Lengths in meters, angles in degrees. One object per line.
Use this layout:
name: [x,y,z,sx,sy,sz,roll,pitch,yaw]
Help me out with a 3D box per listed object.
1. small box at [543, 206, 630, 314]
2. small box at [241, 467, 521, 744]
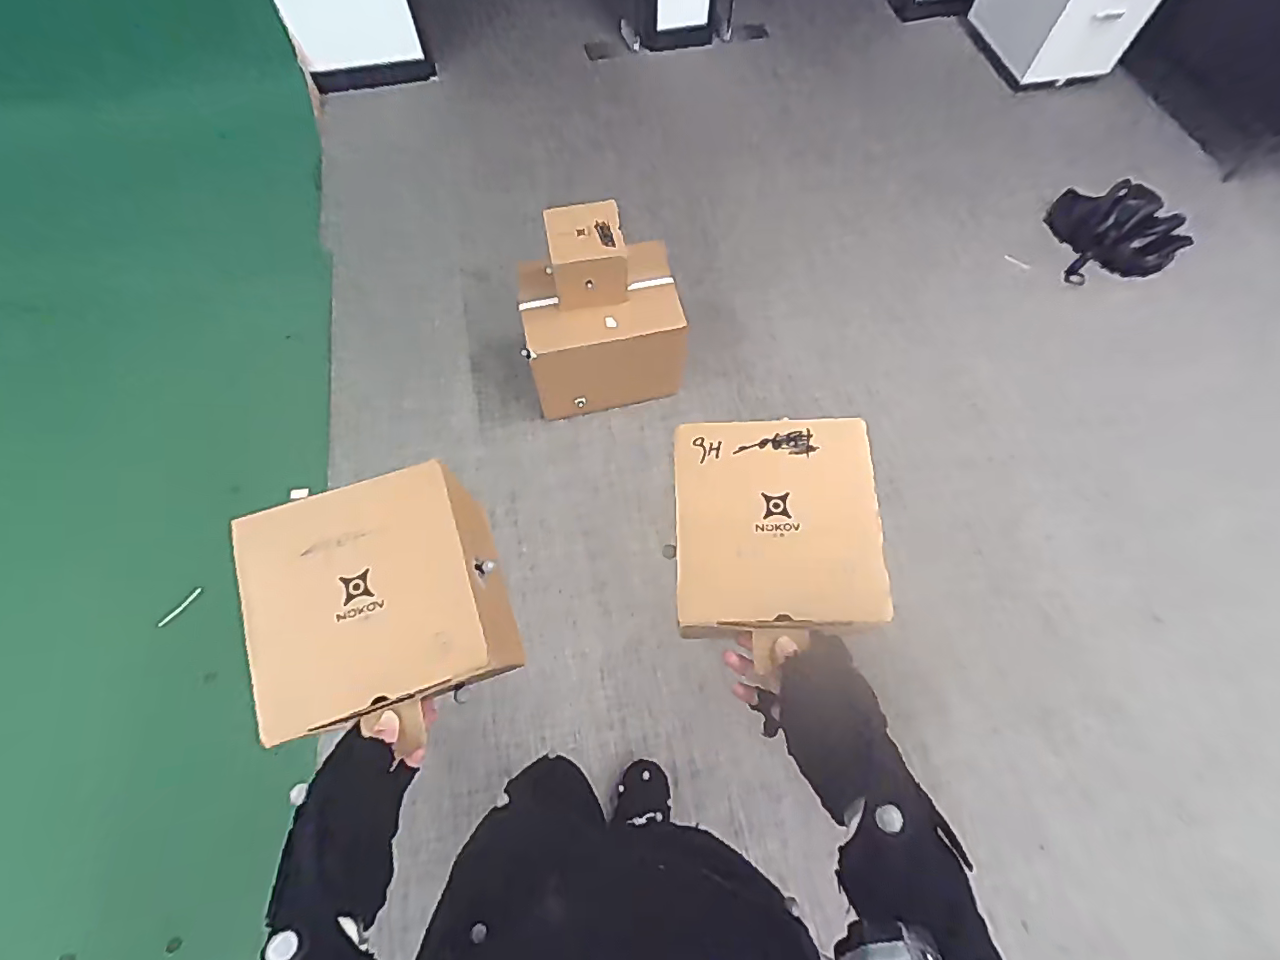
small box: [-0.129,-0.533,1.323,0.179,0.176,0.168,-13,72,-6]
small box: [-0.221,0.114,0.501,0.168,0.176,0.179,-19,73,-8]
